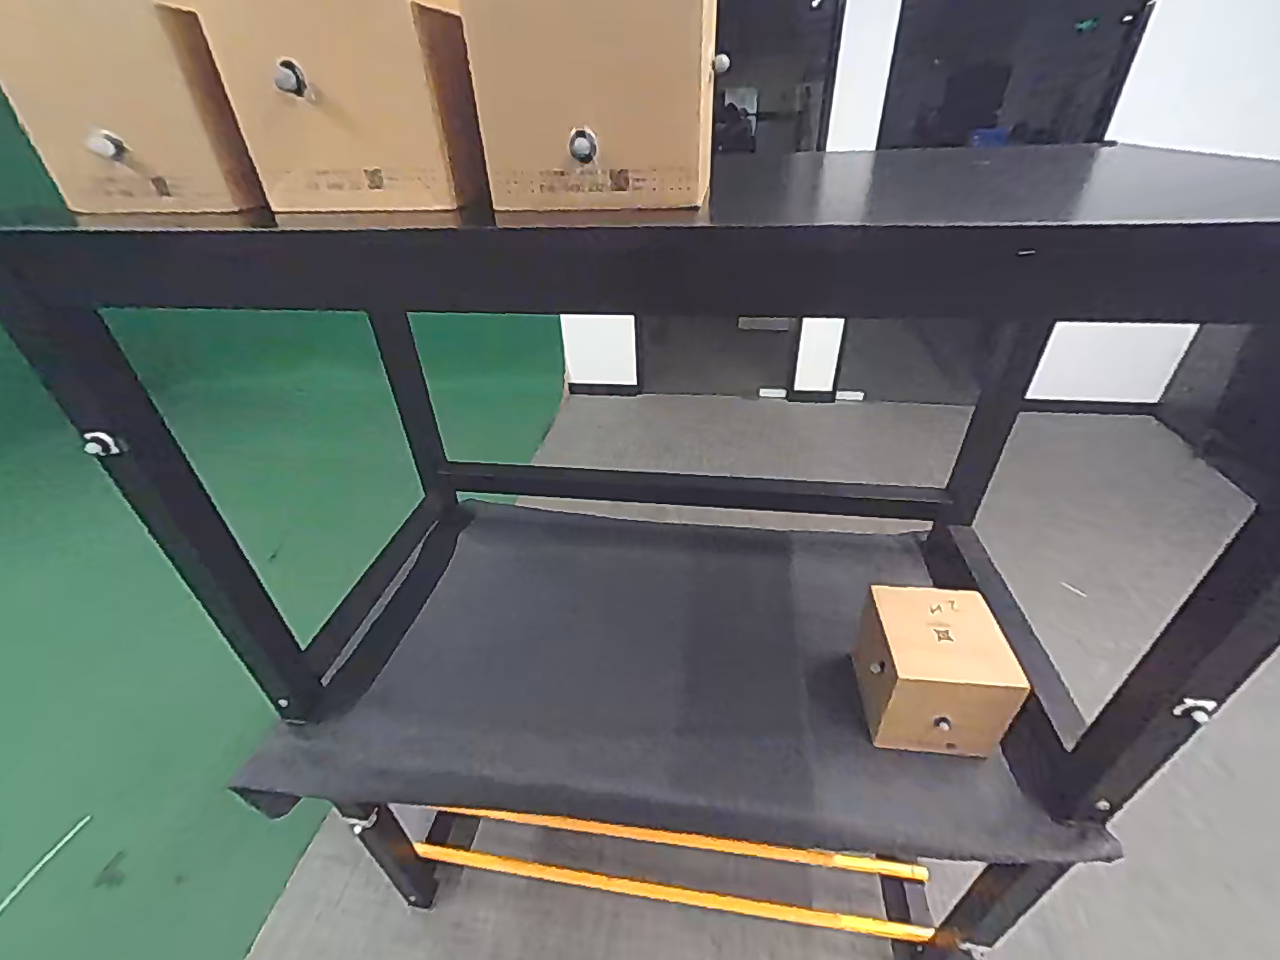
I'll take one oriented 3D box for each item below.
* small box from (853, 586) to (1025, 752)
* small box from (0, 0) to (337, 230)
[{"bbox_3d":[0.437,0.286,0.824,0.168,0.176,0.179,2,33,7],"label":"small box"},{"bbox_3d":[-0.419,-0.342,0.507,0.168,0.176,0.179,2,35,7],"label":"small box"}]
